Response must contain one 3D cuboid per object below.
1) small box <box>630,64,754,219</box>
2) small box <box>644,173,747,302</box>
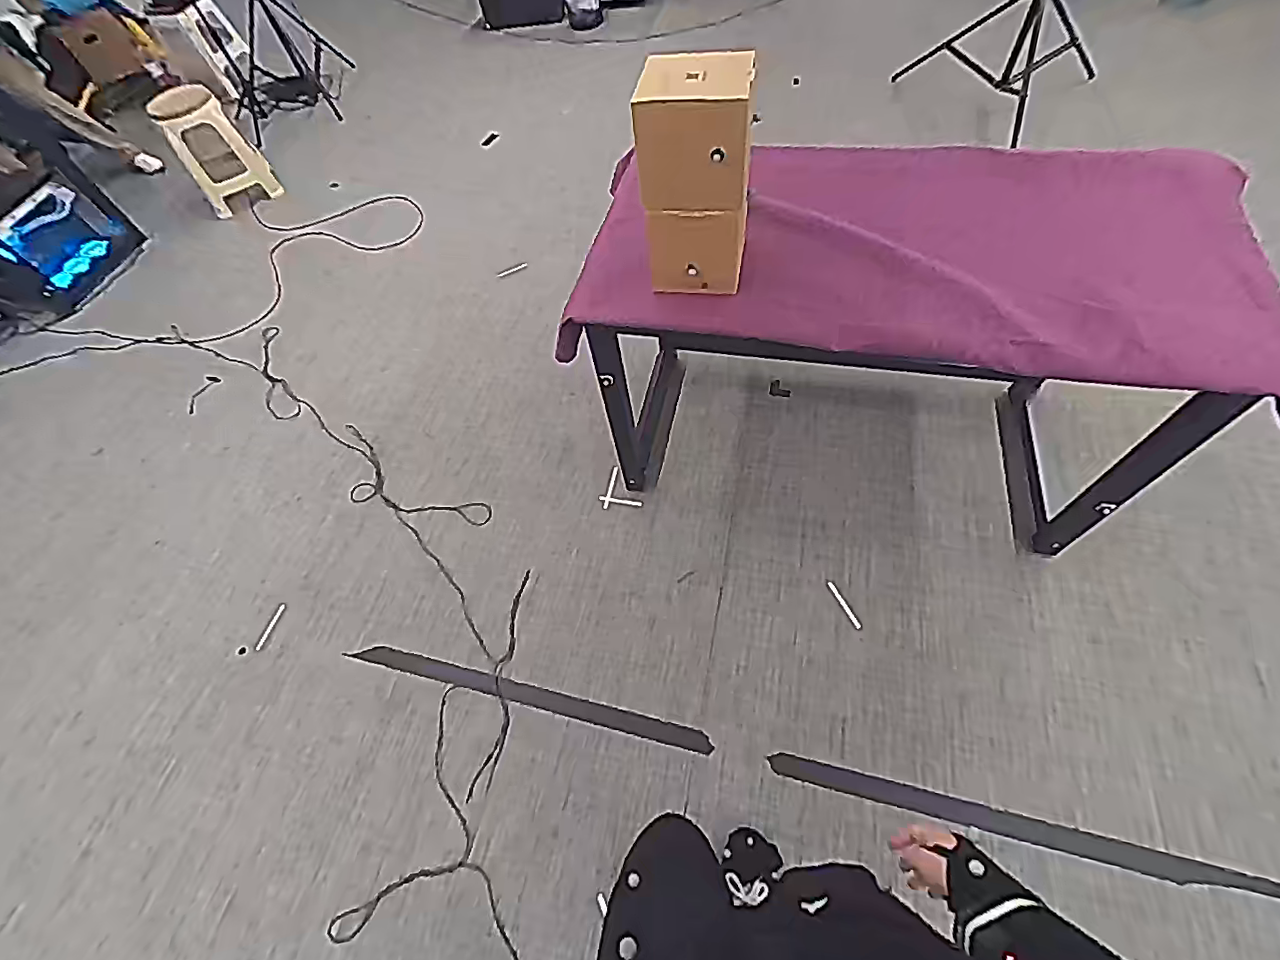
[{"bbox_3d":[0.091,-0.556,0.899,0.179,0.176,0.168,5,57,11],"label":"small box"},{"bbox_3d":[0.110,-0.469,1.035,0.168,0.176,0.179,6,59,11],"label":"small box"}]
